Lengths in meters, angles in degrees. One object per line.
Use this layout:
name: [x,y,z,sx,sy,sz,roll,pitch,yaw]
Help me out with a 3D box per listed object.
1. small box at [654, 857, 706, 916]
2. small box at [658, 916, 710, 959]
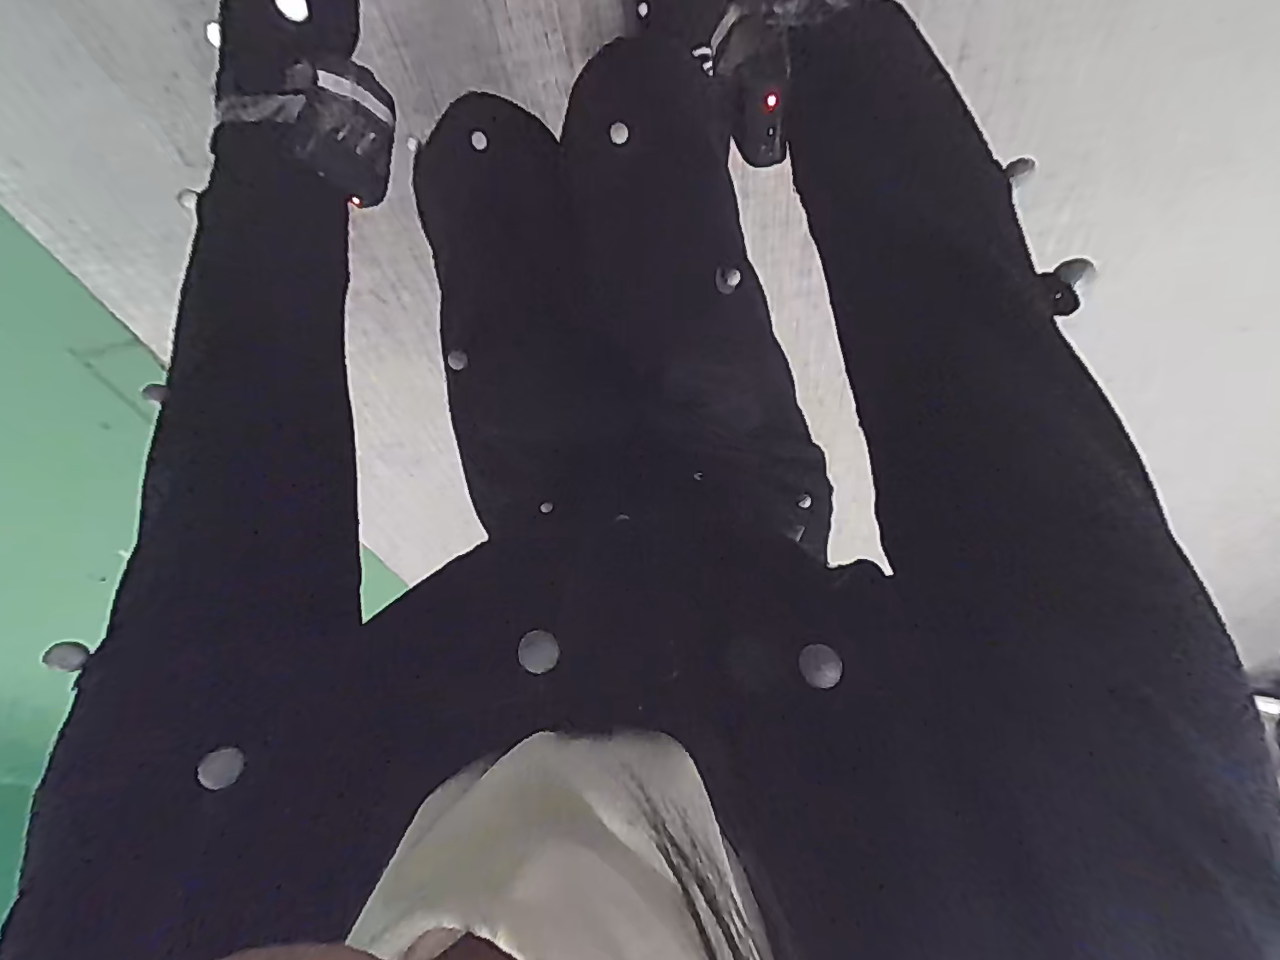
small box: [0.154,1.556,2.071,0.179,0.176,0.168,-7,140,5]
small box: [0.162,1.694,1.958,0.168,0.176,0.179,-10,140,5]
